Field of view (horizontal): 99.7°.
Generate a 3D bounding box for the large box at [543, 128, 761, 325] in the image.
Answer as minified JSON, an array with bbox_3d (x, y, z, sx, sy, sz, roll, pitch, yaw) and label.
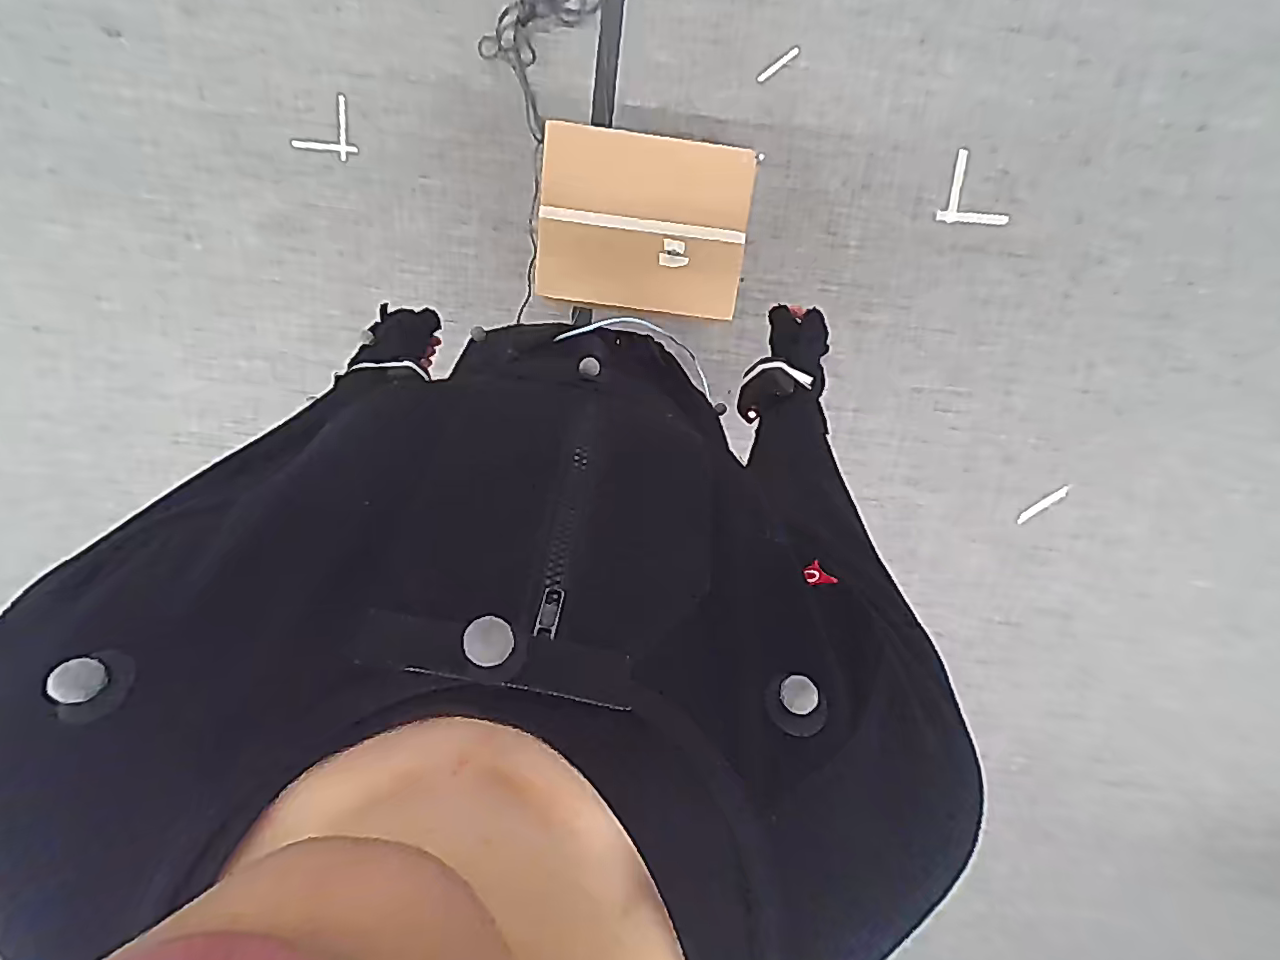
[{"bbox_3d":[0.012,-0.530,1.205,0.408,0.320,0.320,7,105,-3],"label":"large box"}]
